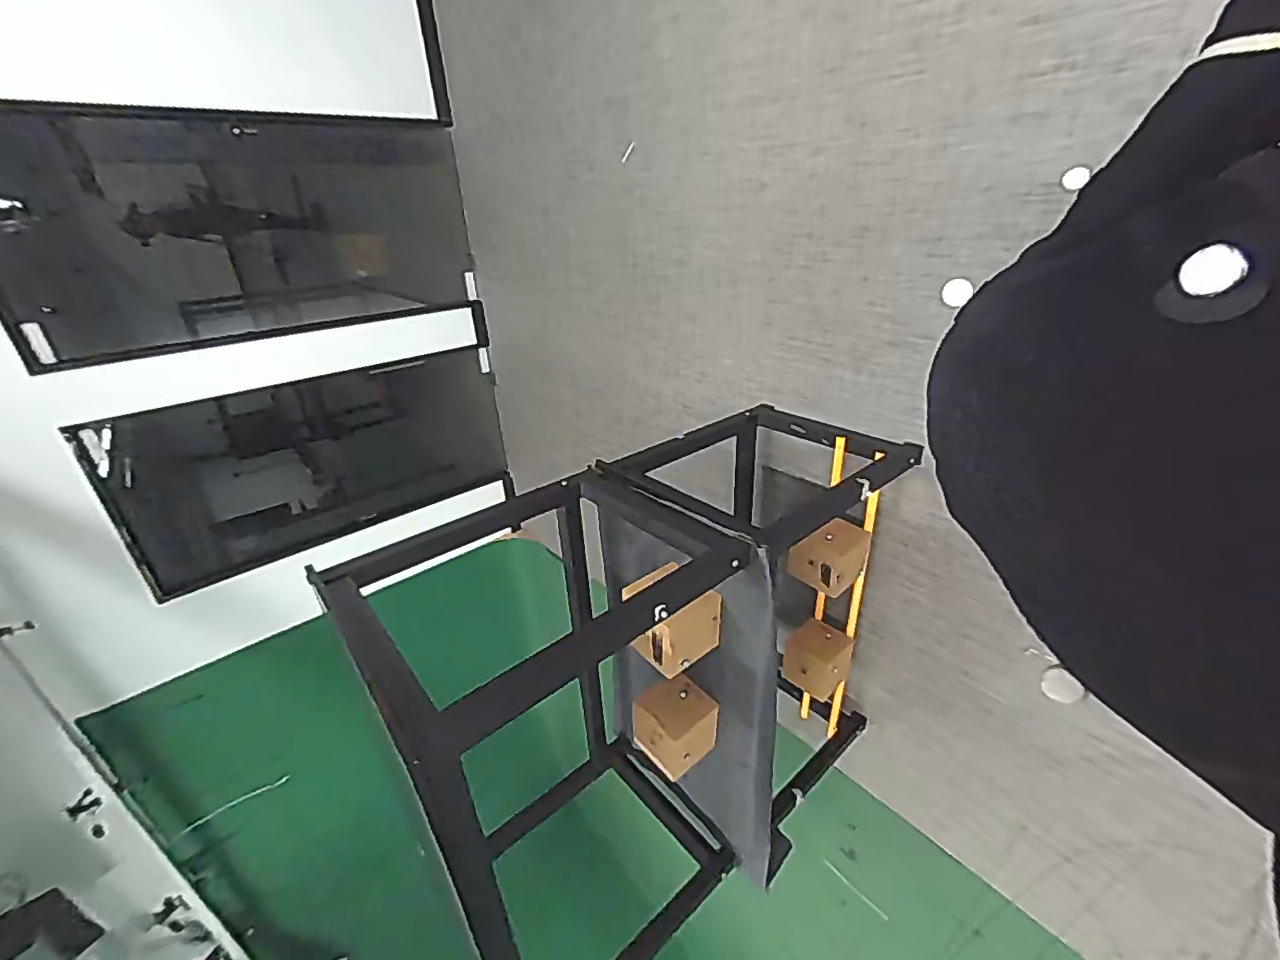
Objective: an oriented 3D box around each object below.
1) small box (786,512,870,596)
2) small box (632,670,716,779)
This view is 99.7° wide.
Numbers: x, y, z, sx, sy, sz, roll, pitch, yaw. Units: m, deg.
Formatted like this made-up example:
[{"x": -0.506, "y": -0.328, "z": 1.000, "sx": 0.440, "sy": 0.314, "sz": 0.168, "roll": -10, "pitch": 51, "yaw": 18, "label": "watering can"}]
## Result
[{"x": 0.583, "y": 0.221, "z": 1.676, "sx": 0.179, "sy": 0.176, "sz": 0.168, "roll": 29, "pitch": 131, "yaw": 41, "label": "small box"}, {"x": 0.094, "y": 0.666, "z": 1.488, "sx": 0.168, "sy": 0.176, "sz": 0.179, "roll": 29, "pitch": 131, "yaw": 42, "label": "small box"}]
